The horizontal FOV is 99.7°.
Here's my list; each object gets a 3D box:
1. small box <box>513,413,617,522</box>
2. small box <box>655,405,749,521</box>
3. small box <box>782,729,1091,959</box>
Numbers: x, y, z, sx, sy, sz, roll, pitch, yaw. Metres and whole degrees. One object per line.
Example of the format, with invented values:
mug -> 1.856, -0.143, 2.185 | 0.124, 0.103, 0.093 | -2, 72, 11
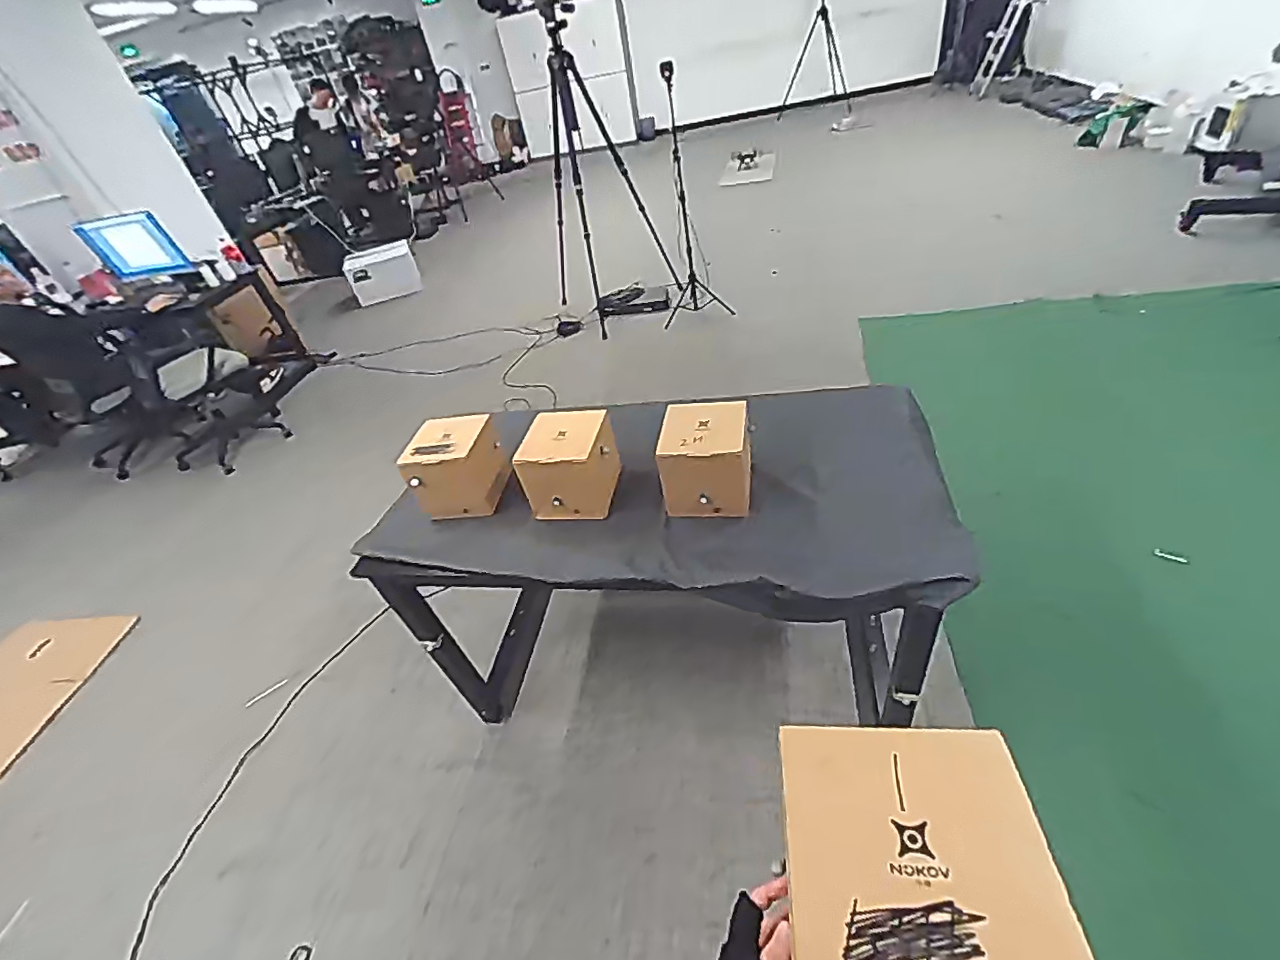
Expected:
small box -> -0.154, -0.029, 1.189 | 0.168, 0.176, 0.179 | 0, 42, 14
small box -> 0.136, -0.037, 1.117 | 0.168, 0.176, 0.179 | -1, 41, 15
small box -> 0.199, 0.315, 0.405 | 0.168, 0.176, 0.179 | -4, 36, 13
